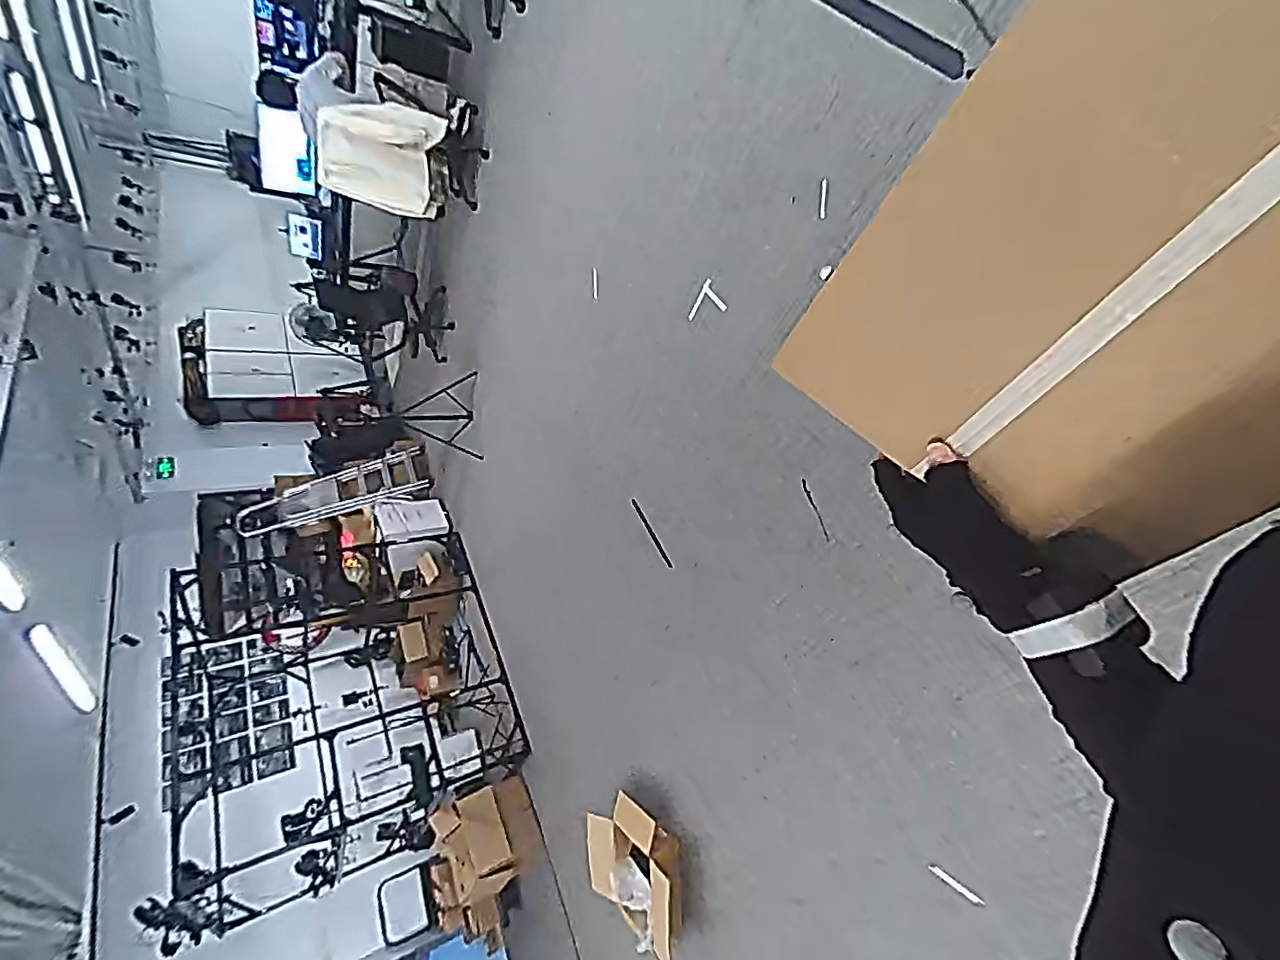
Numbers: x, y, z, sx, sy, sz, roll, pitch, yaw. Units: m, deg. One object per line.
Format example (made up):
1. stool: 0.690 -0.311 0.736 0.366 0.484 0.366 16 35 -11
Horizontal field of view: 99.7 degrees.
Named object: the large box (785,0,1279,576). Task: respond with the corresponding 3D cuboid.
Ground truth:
1. large box: 0.391 -0.206 0.429 0.320 0.320 0.408 39 135 8
